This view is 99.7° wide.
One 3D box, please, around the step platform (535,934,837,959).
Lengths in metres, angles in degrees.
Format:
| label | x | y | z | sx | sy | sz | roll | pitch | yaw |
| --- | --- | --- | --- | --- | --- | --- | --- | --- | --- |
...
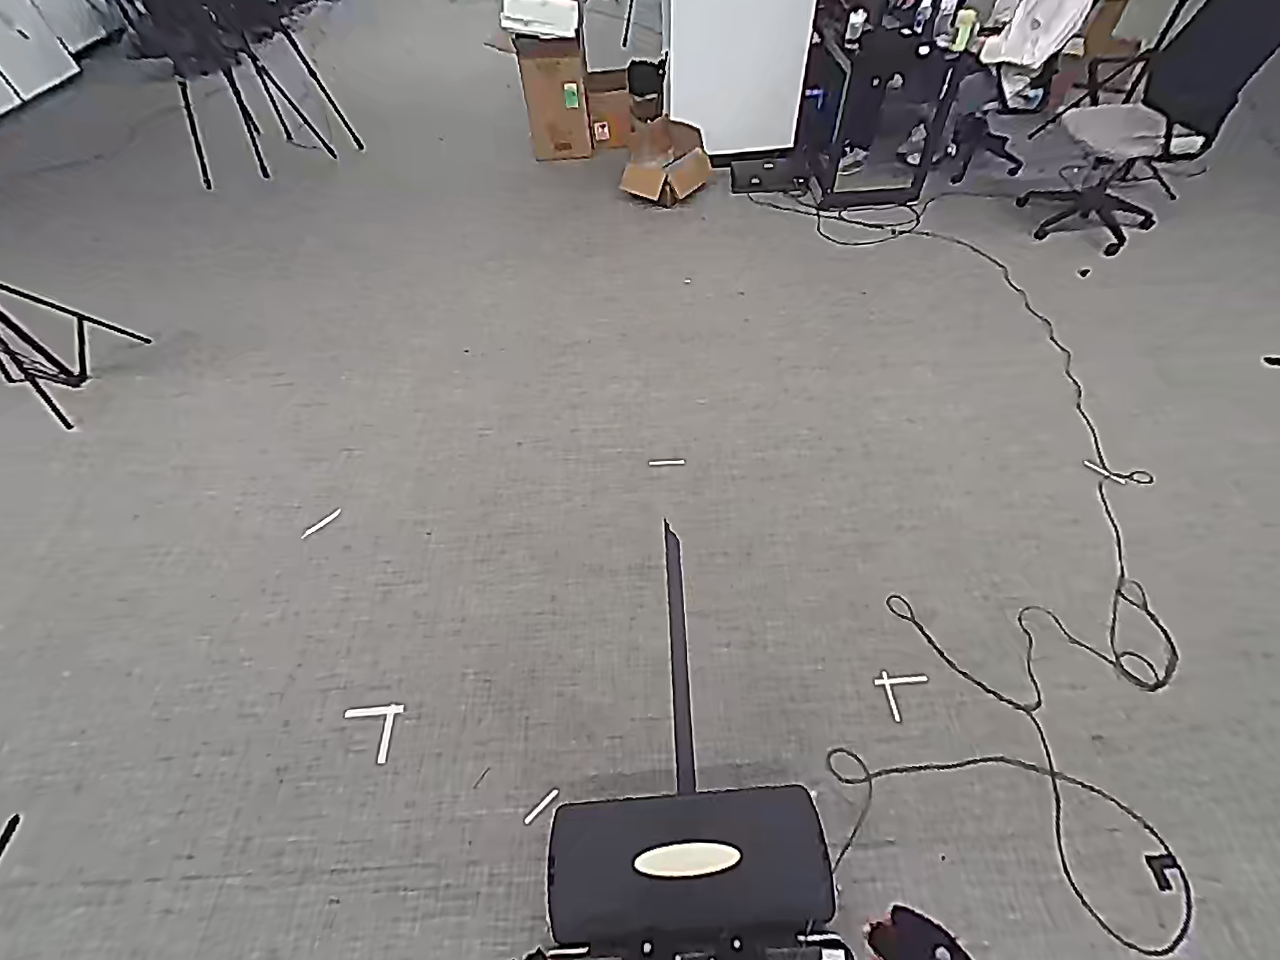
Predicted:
| label | x | y | z | sx | sy | sz | roll | pitch | yaw |
| --- | --- | --- | --- | --- | --- | --- | --- | --- | --- |
| step platform | 0.093 | 1.130 | 1.097 | 0.684 | 0.204 | 0.286 | -5 | 52 | 1 |
